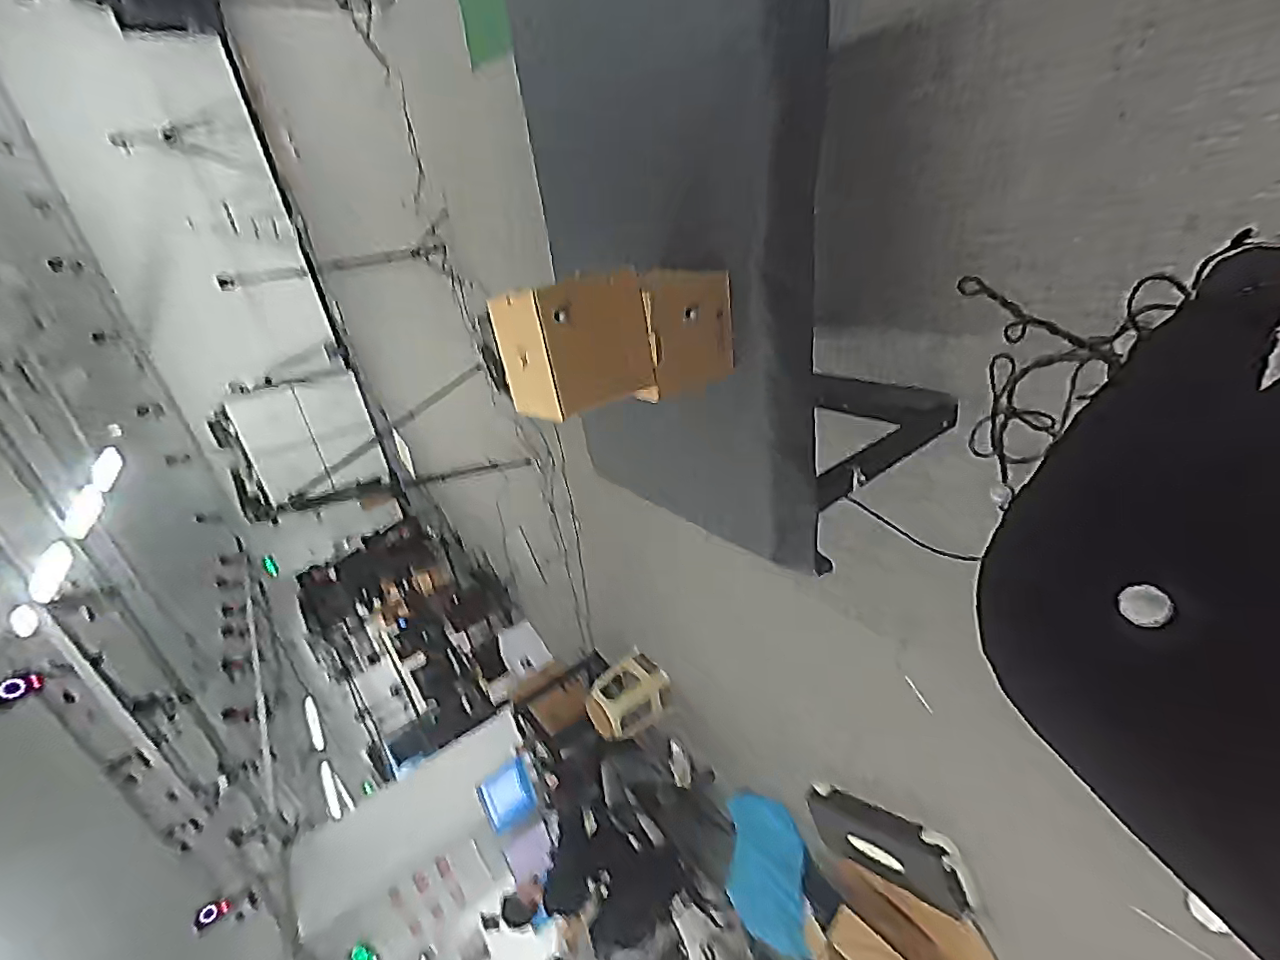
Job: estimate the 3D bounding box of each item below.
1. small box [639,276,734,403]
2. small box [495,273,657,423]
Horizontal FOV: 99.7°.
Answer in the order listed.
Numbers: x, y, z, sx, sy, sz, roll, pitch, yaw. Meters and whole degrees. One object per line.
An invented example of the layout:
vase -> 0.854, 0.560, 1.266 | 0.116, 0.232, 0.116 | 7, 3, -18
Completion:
small box -> 0.042, -0.241, 0.895 | 0.179, 0.176, 0.168 | 27, 131, 49
small box -> -0.091, -0.198, 0.810 | 0.168, 0.176, 0.179 | 17, 124, 53
